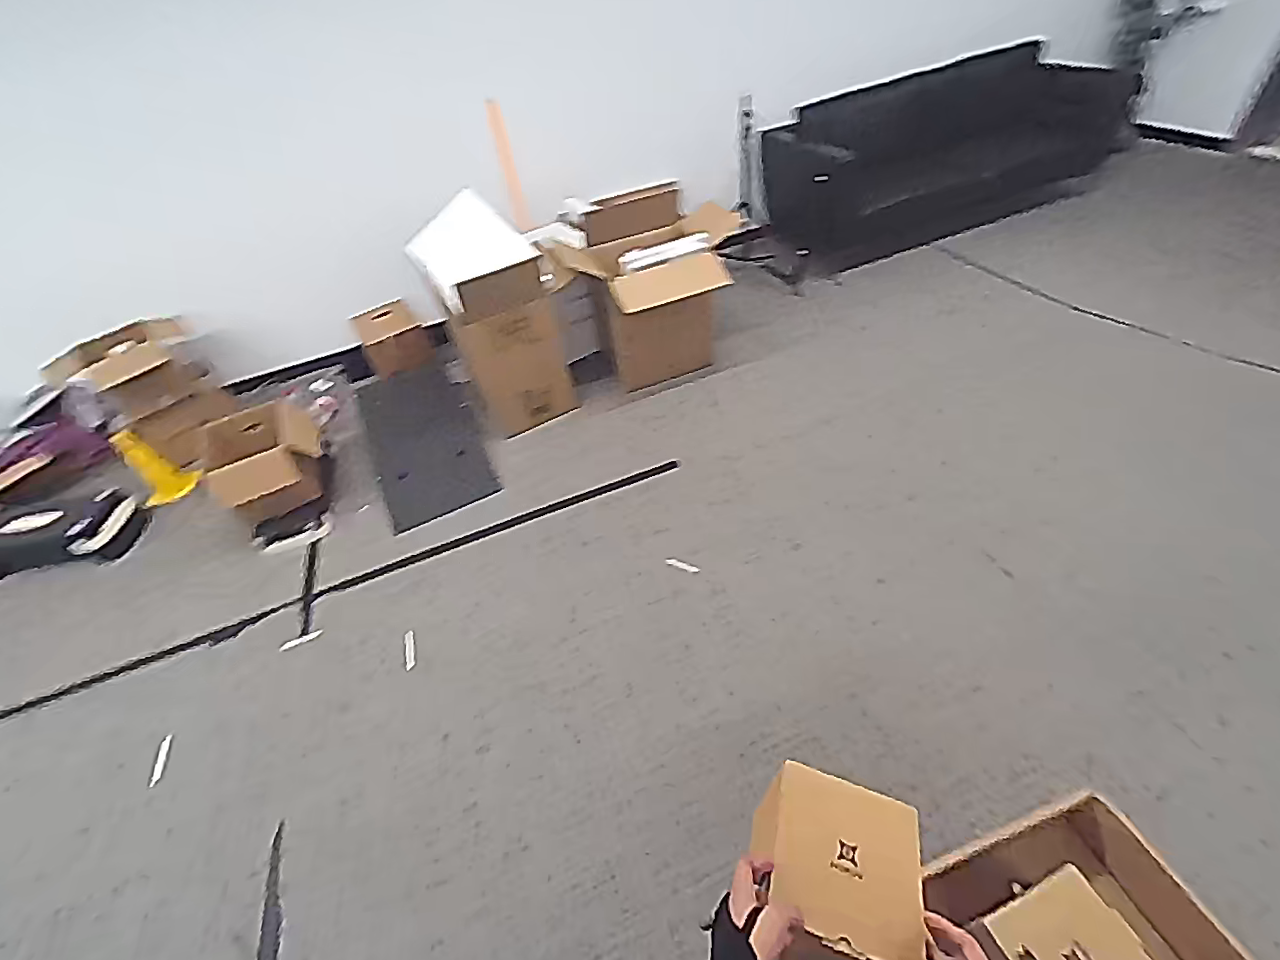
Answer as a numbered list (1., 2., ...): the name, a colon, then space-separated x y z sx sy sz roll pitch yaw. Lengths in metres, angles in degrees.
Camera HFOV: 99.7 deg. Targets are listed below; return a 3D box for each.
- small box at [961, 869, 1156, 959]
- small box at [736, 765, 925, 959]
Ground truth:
1. small box: 0.624 0.722 0.806 0.179 0.176 0.168 -20 45 -11
2. small box: 0.224 0.496 0.662 0.168 0.176 0.179 15 39 10
